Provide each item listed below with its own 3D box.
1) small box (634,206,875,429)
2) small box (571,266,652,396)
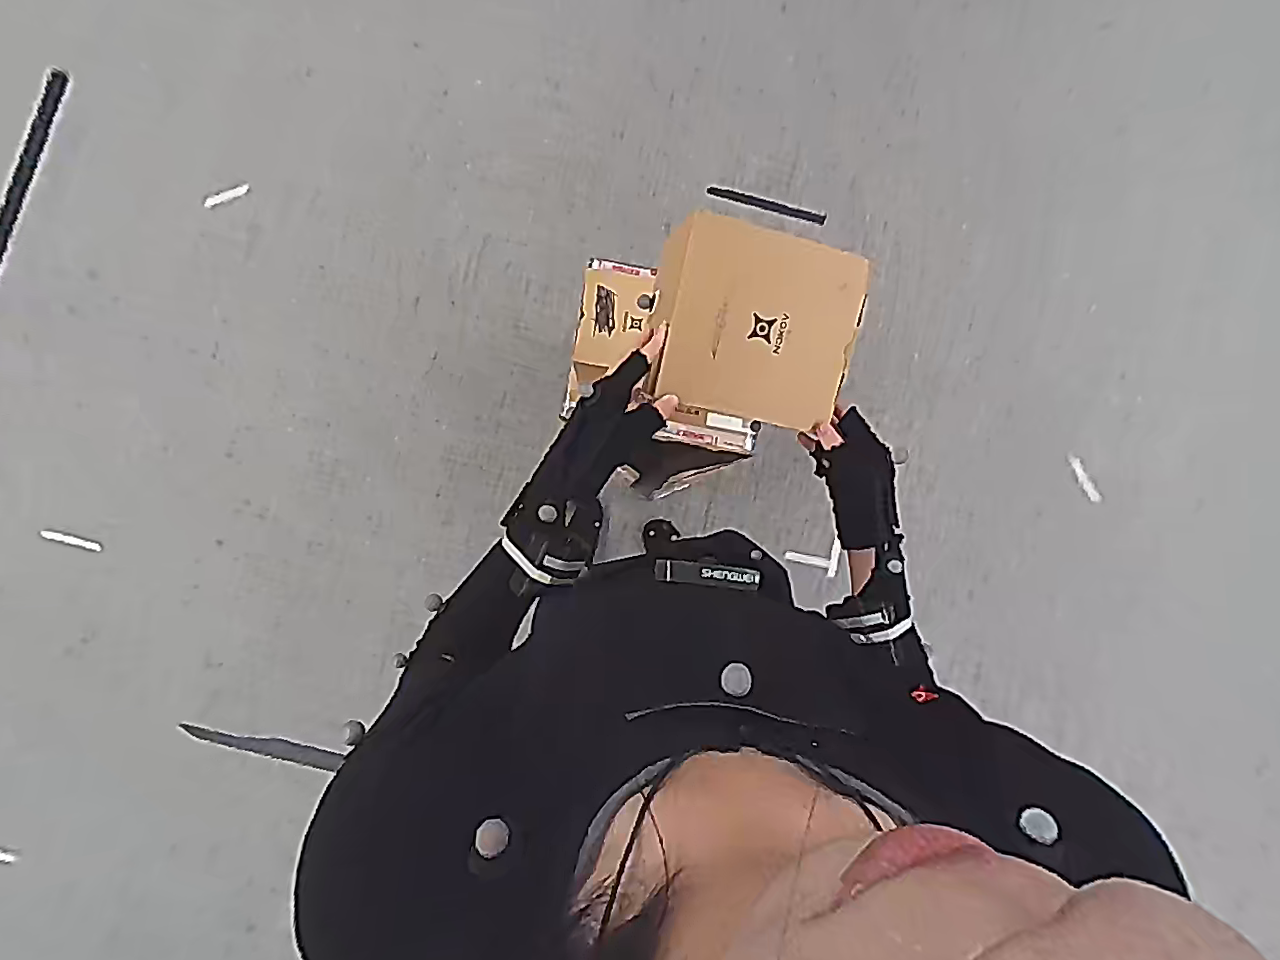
[{"bbox_3d":[0.101,-0.156,0.558,0.179,0.176,0.168,9,100,-10],"label":"small box"},{"bbox_3d":[-0.019,-0.256,0.970,0.179,0.176,0.168,8,85,-2],"label":"small box"}]
